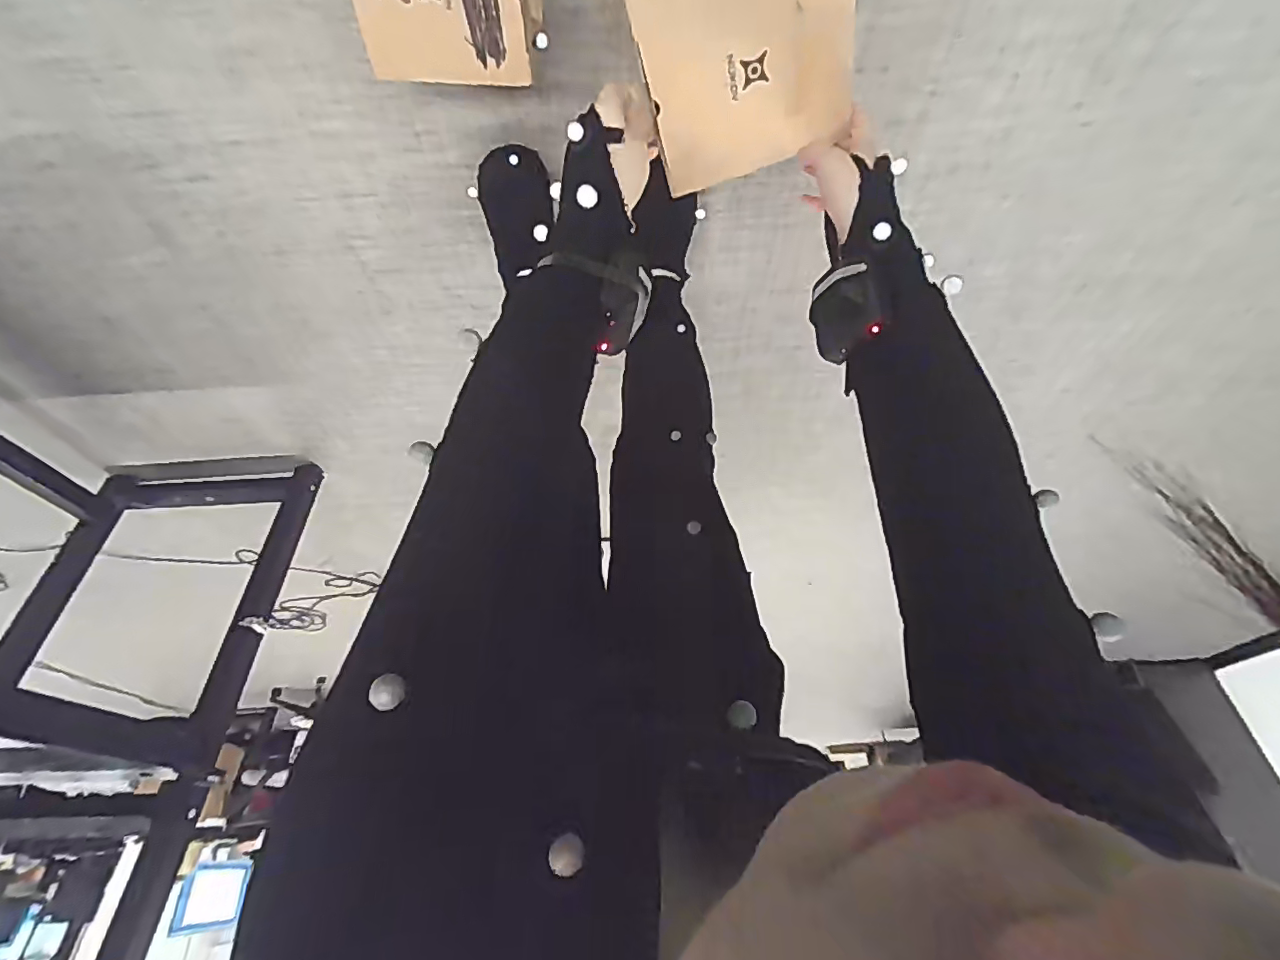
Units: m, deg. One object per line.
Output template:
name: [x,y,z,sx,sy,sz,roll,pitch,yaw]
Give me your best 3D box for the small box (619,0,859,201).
small box: [0.082,-0.398,0.488,0.179,0.176,0.168,-16,145,10]
